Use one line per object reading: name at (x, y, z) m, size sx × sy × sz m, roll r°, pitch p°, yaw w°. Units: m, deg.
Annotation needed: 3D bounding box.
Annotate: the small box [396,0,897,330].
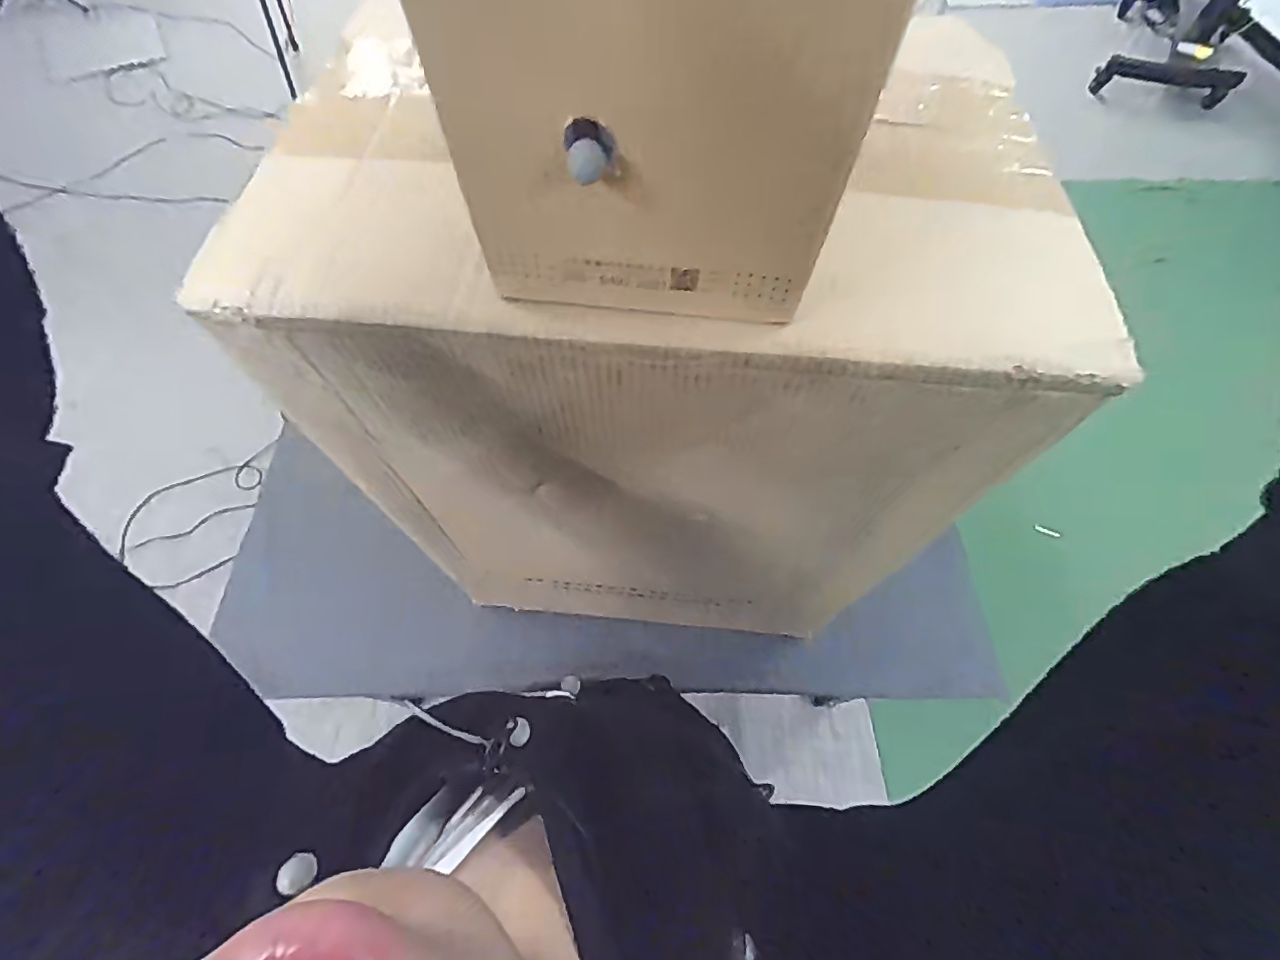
small box at (0.011, -0.197, 0.266) m, size 0.168 × 0.176 × 0.179 m, roll 6°, pitch 64°, yaw 2°
